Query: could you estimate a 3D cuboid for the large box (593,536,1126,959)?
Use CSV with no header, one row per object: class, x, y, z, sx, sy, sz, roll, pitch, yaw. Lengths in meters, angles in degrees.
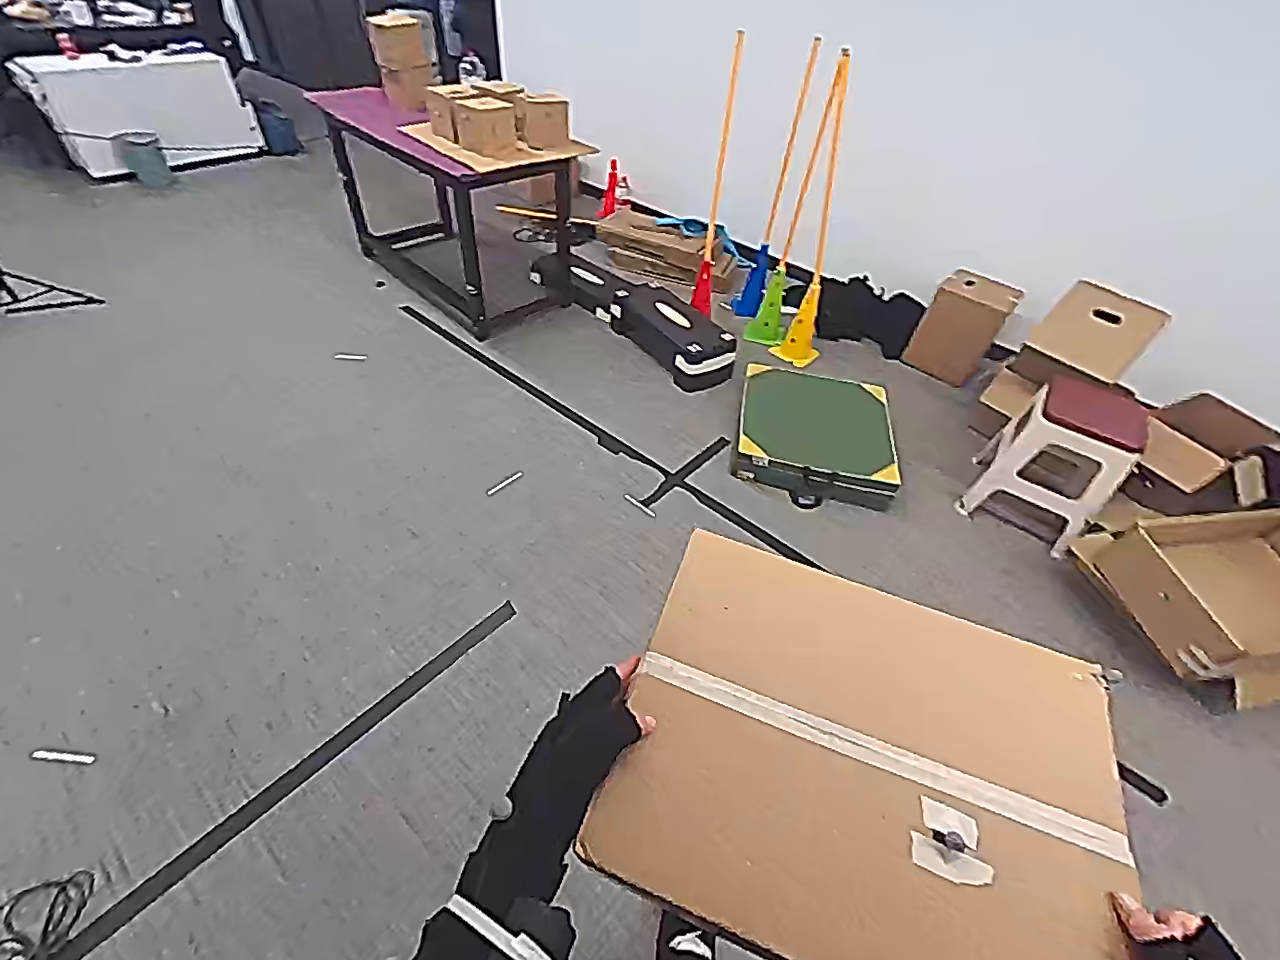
large box,0.187,0.319,0.593,0.408,0.320,0.320,19,55,10
